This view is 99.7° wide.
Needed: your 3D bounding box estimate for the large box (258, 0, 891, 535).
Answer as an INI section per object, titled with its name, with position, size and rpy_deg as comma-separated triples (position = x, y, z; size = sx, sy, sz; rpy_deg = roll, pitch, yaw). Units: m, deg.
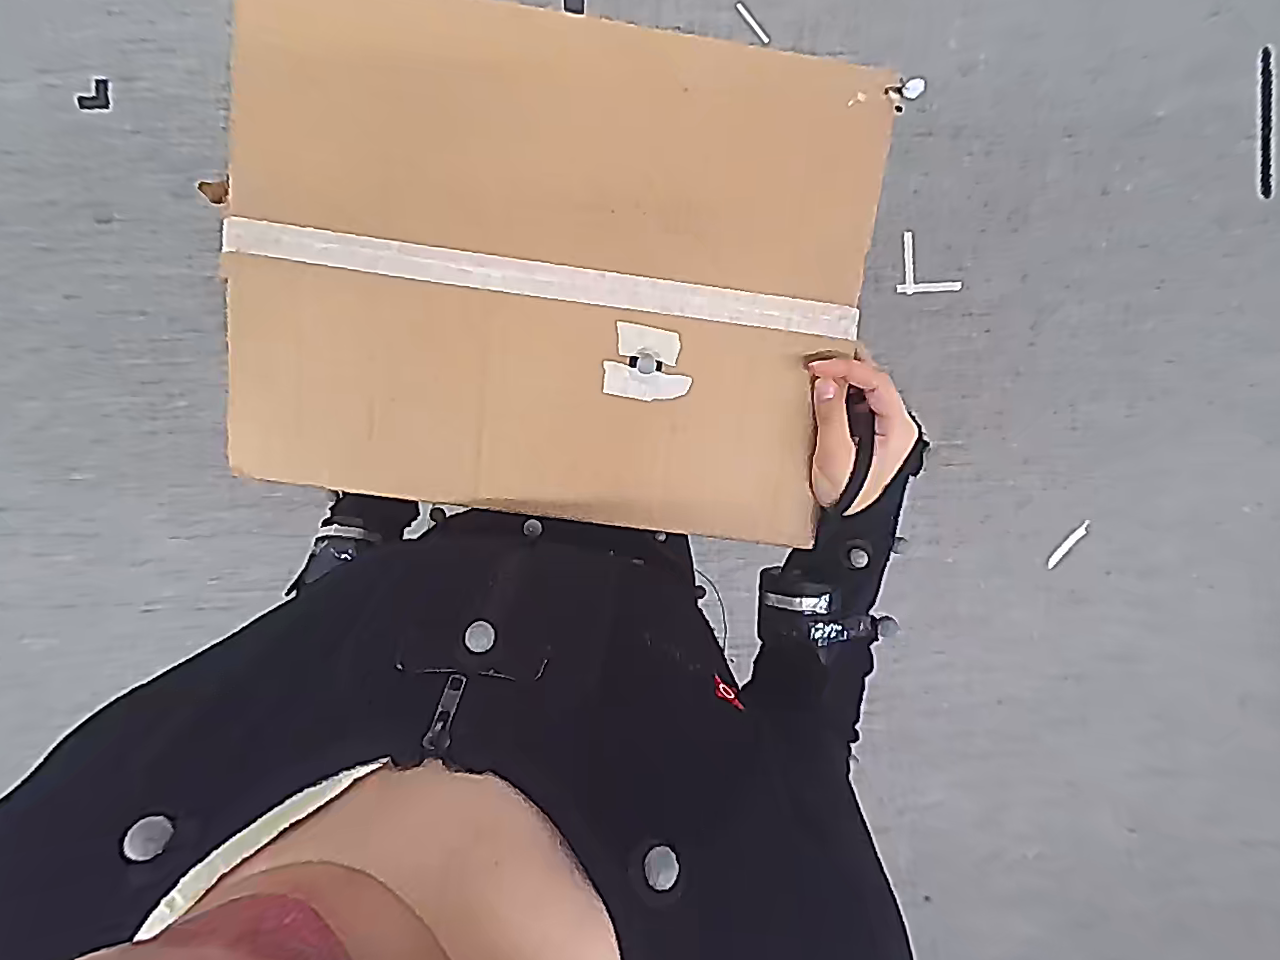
[large box]
position = -0.056, -0.151, 0.509
size = 0.408, 0.320, 0.320
rpy_deg = 7, 99, -4
